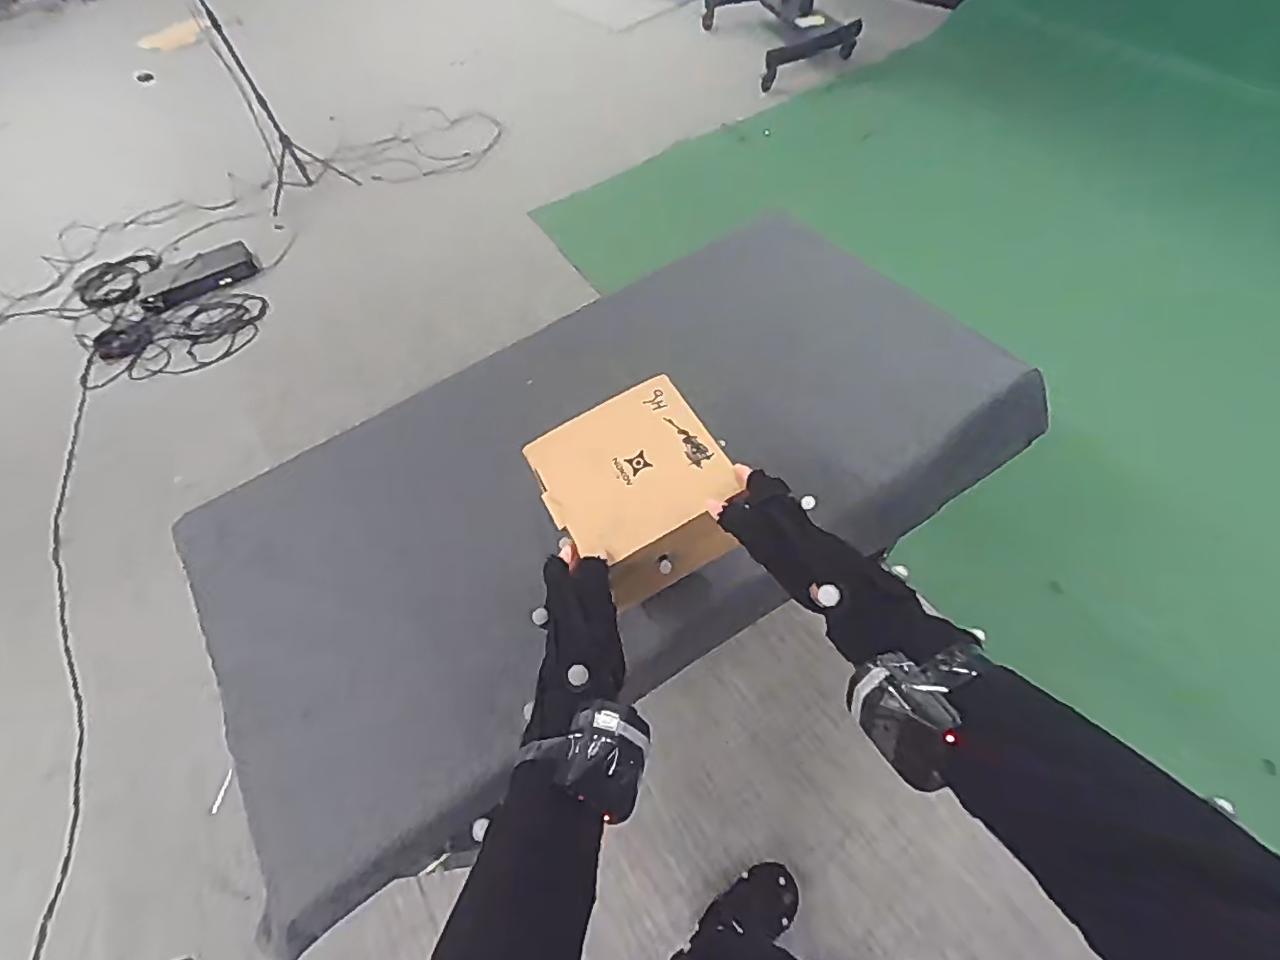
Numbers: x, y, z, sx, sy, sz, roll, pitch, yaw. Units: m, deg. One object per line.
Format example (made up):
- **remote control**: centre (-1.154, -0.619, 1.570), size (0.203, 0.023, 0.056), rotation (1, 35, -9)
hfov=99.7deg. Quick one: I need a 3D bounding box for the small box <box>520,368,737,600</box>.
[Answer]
- **small box**: centre (-0.005, 0.015, 0.614), size (0.179, 0.176, 0.168), rotation (-29, 64, -6)
